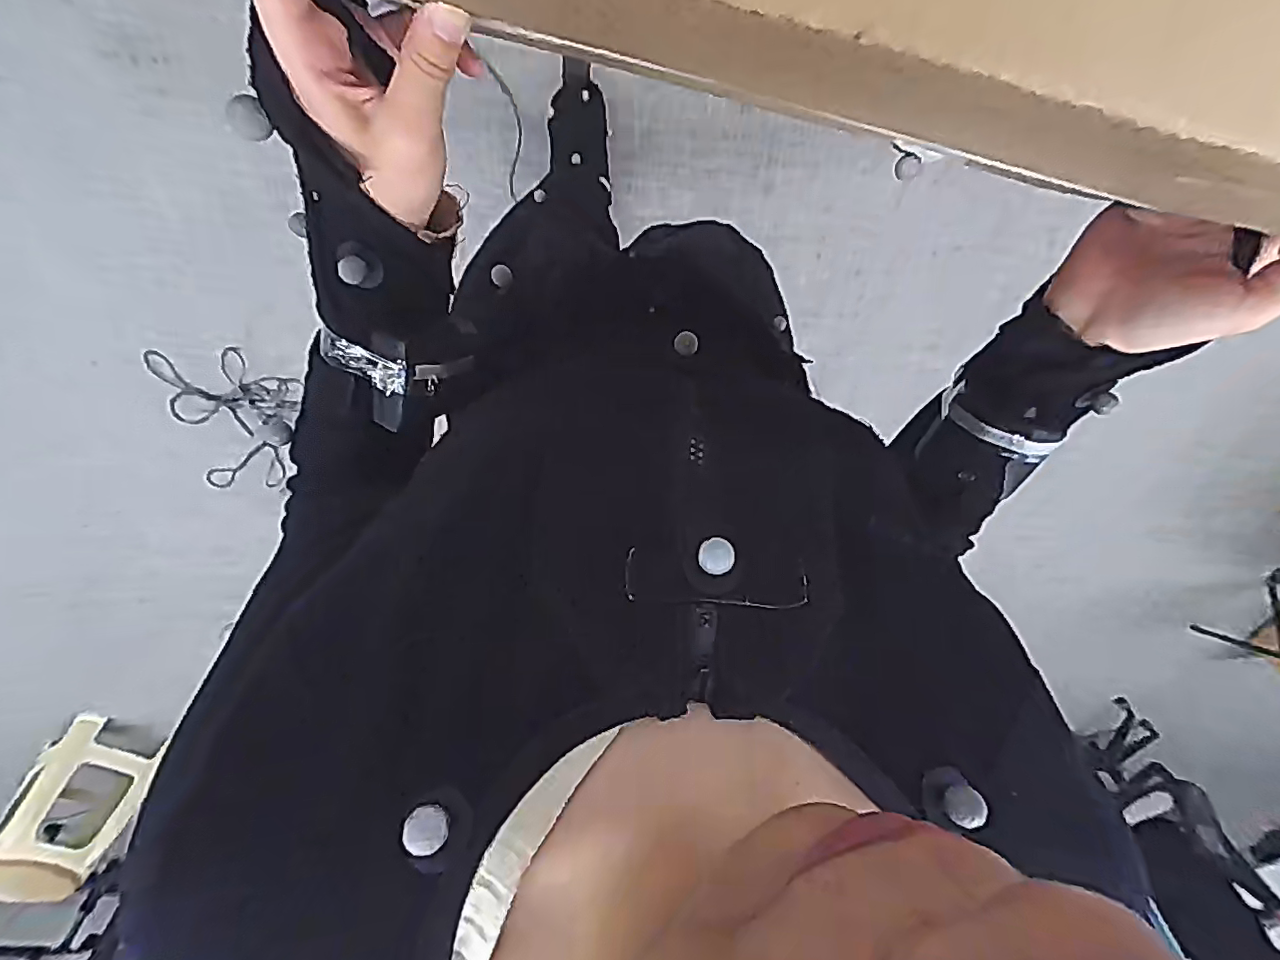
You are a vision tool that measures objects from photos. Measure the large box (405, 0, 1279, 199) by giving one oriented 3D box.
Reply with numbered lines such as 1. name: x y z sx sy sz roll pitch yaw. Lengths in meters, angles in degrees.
1. large box: 0.096 -0.288 0.133 0.408 0.320 0.320 8 126 -7
